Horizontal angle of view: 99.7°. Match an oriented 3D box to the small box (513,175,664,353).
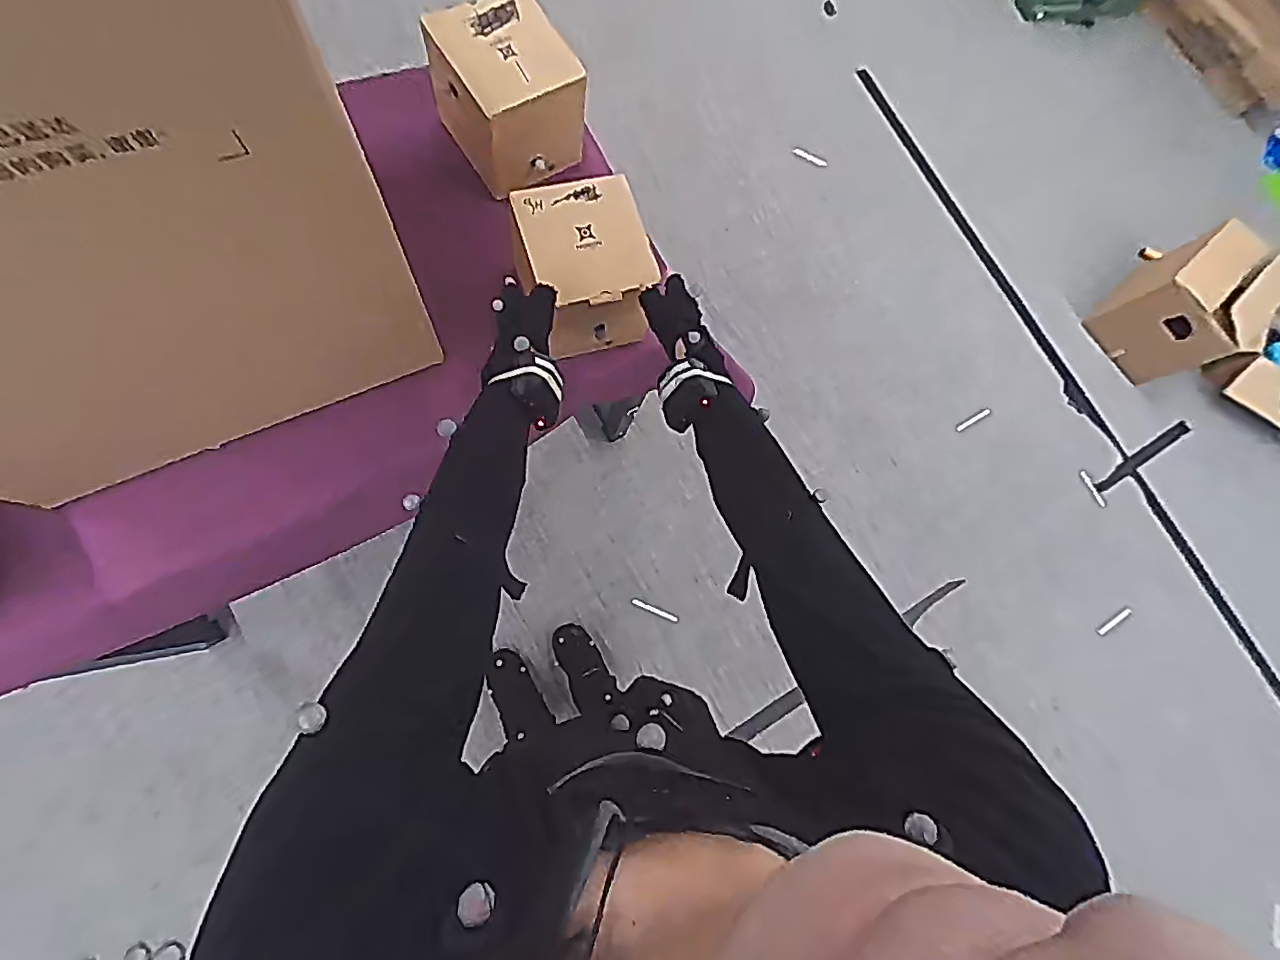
[{"bbox_3d":[-0.079,-0.303,0.792,0.168,0.176,0.179,-16,82,-13],"label":"small box"}]
